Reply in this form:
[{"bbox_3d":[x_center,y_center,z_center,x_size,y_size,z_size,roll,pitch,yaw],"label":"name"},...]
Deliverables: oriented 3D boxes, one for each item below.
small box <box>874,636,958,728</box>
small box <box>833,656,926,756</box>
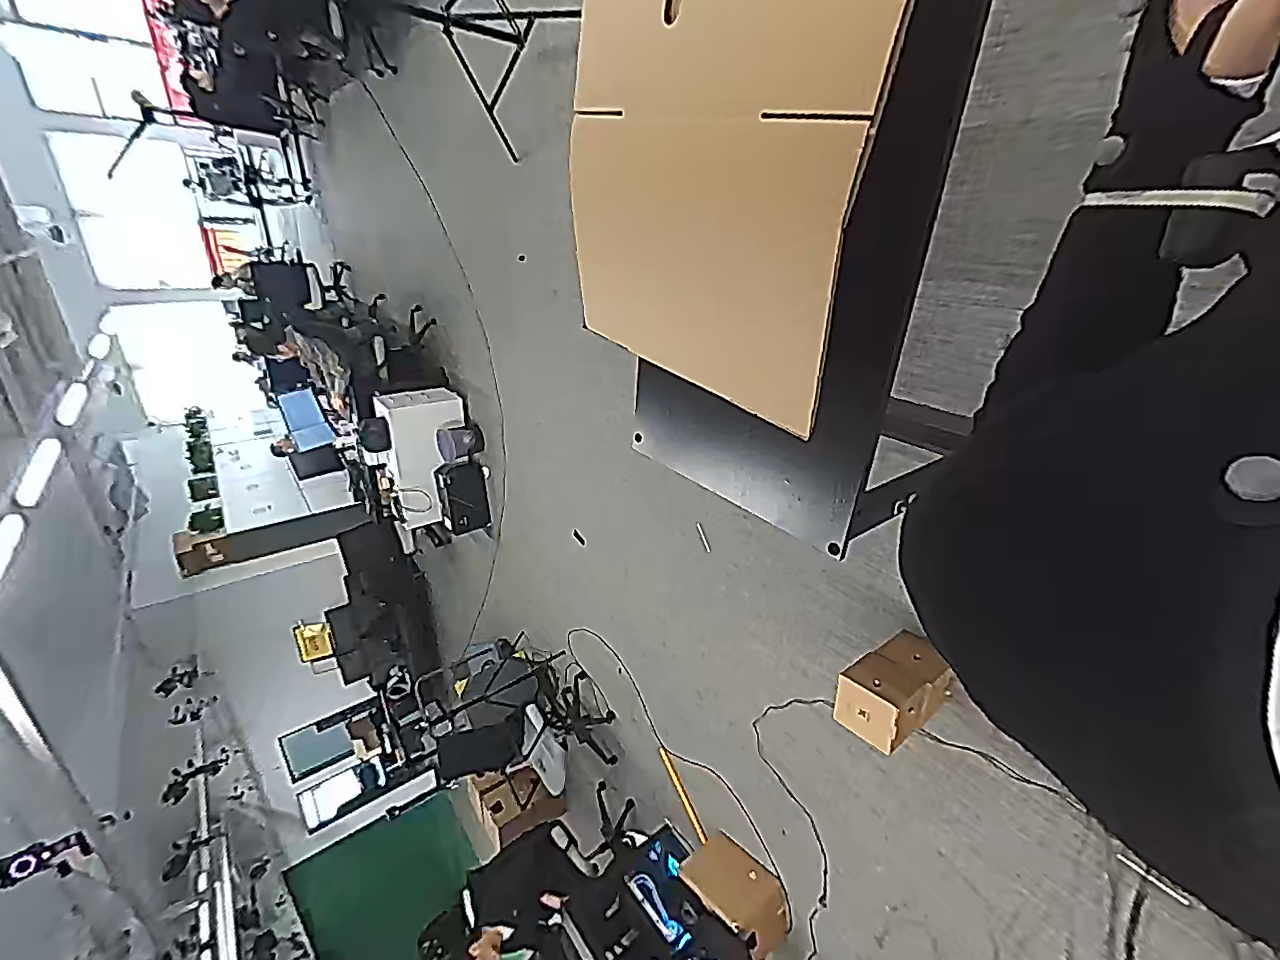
[{"bbox_3d":[0.815,0.595,1.627,0.179,0.176,0.168,26,124,46],"label":"small box"},{"bbox_3d":[0.683,0.631,1.539,0.179,0.176,0.168,24,121,49],"label":"small box"}]
